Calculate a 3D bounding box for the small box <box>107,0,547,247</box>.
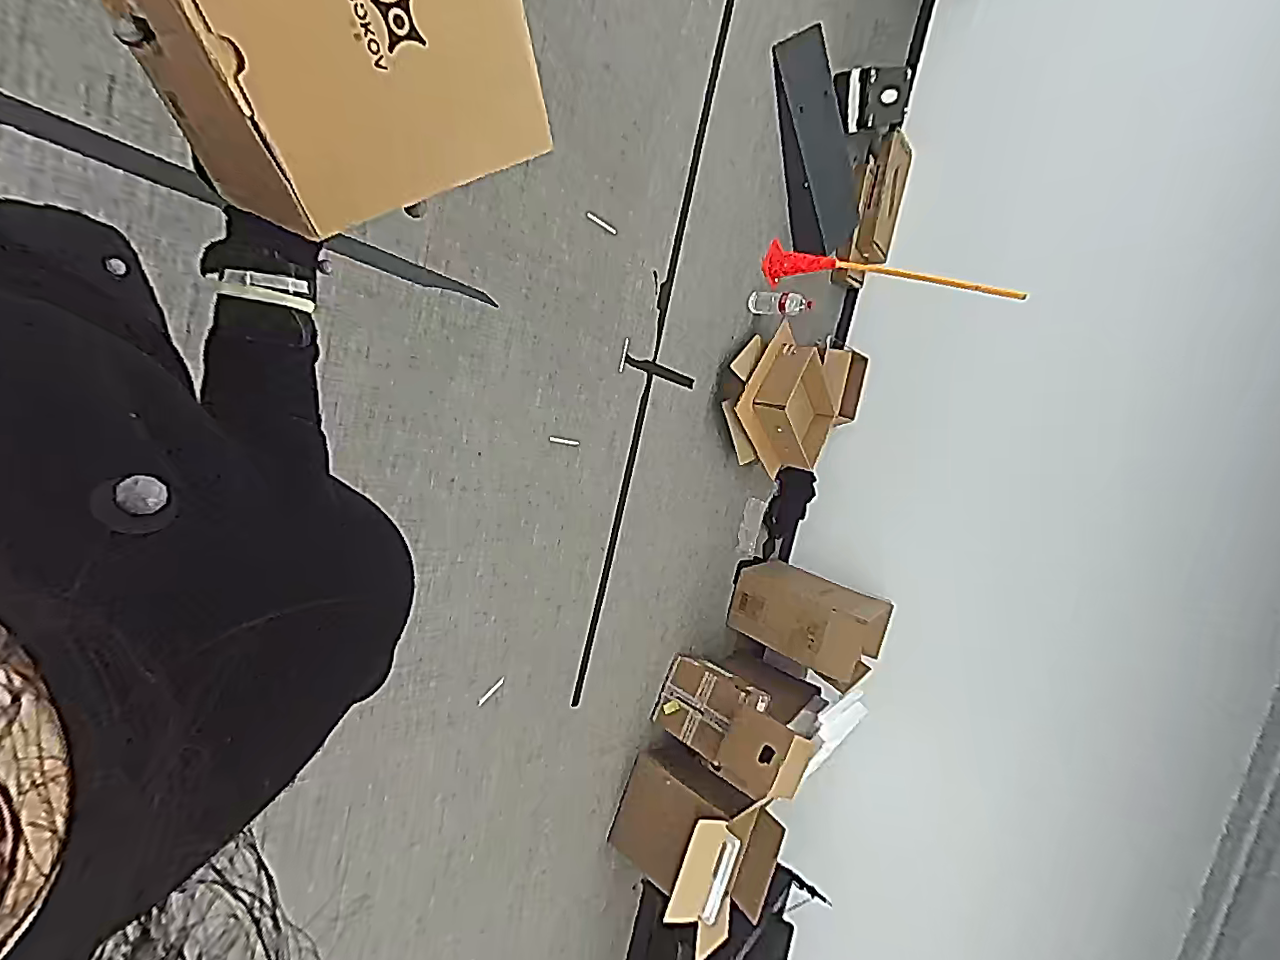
[{"bbox_3d":[-0.191,-0.273,0.337,0.179,0.176,0.168,-40,142,-27],"label":"small box"}]
